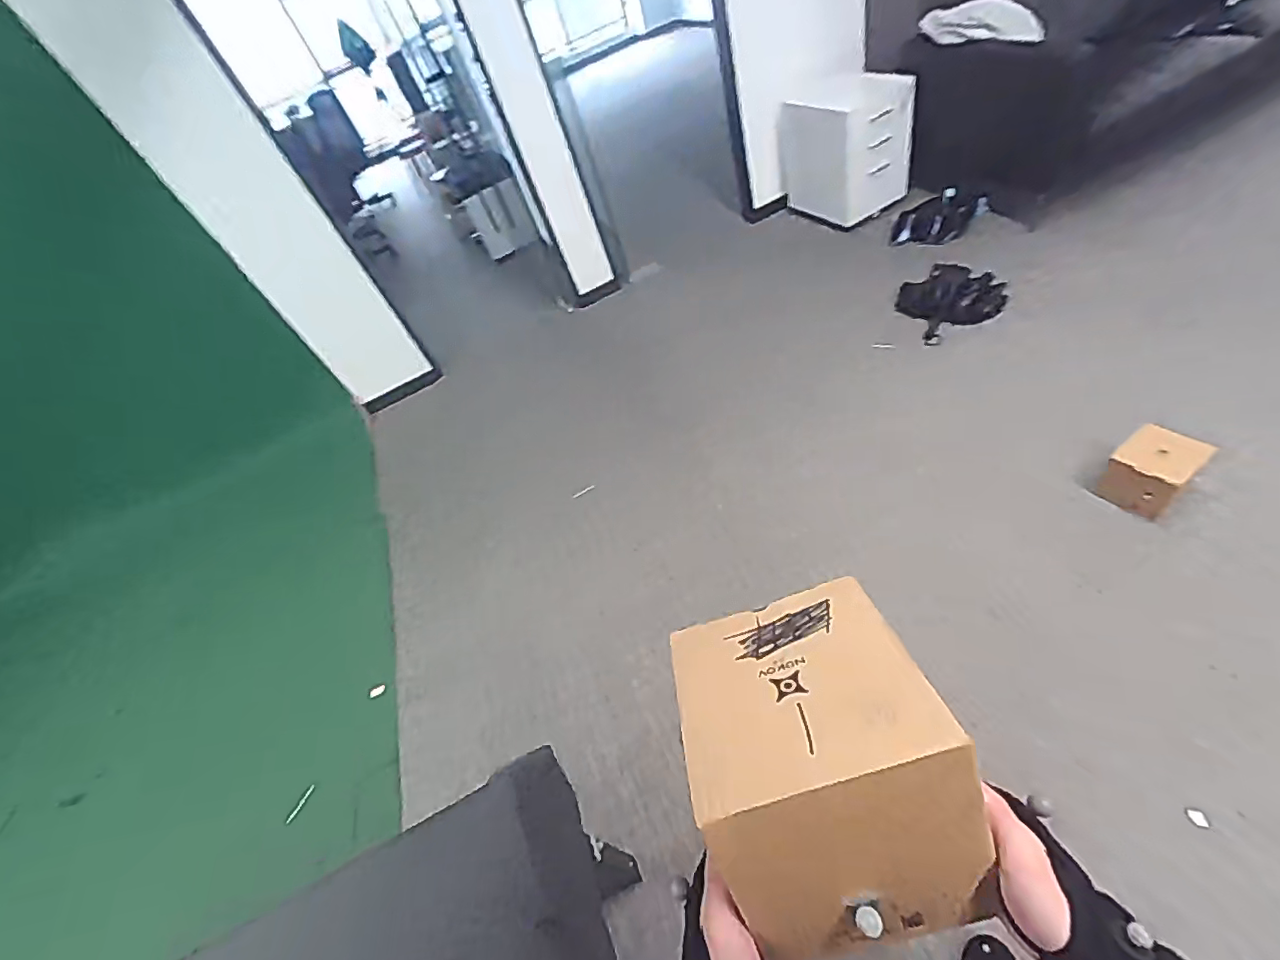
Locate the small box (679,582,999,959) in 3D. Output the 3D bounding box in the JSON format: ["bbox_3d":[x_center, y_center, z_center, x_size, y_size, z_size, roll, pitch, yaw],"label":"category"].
[{"bbox_3d":[0.137,0.213,0.416,0.168,0.176,0.179,-20,21,7],"label":"small box"}]

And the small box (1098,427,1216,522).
[{"bbox_3d":[1.450,-0.013,1.532,0.179,0.176,0.168,-36,47,-14],"label":"small box"}]
